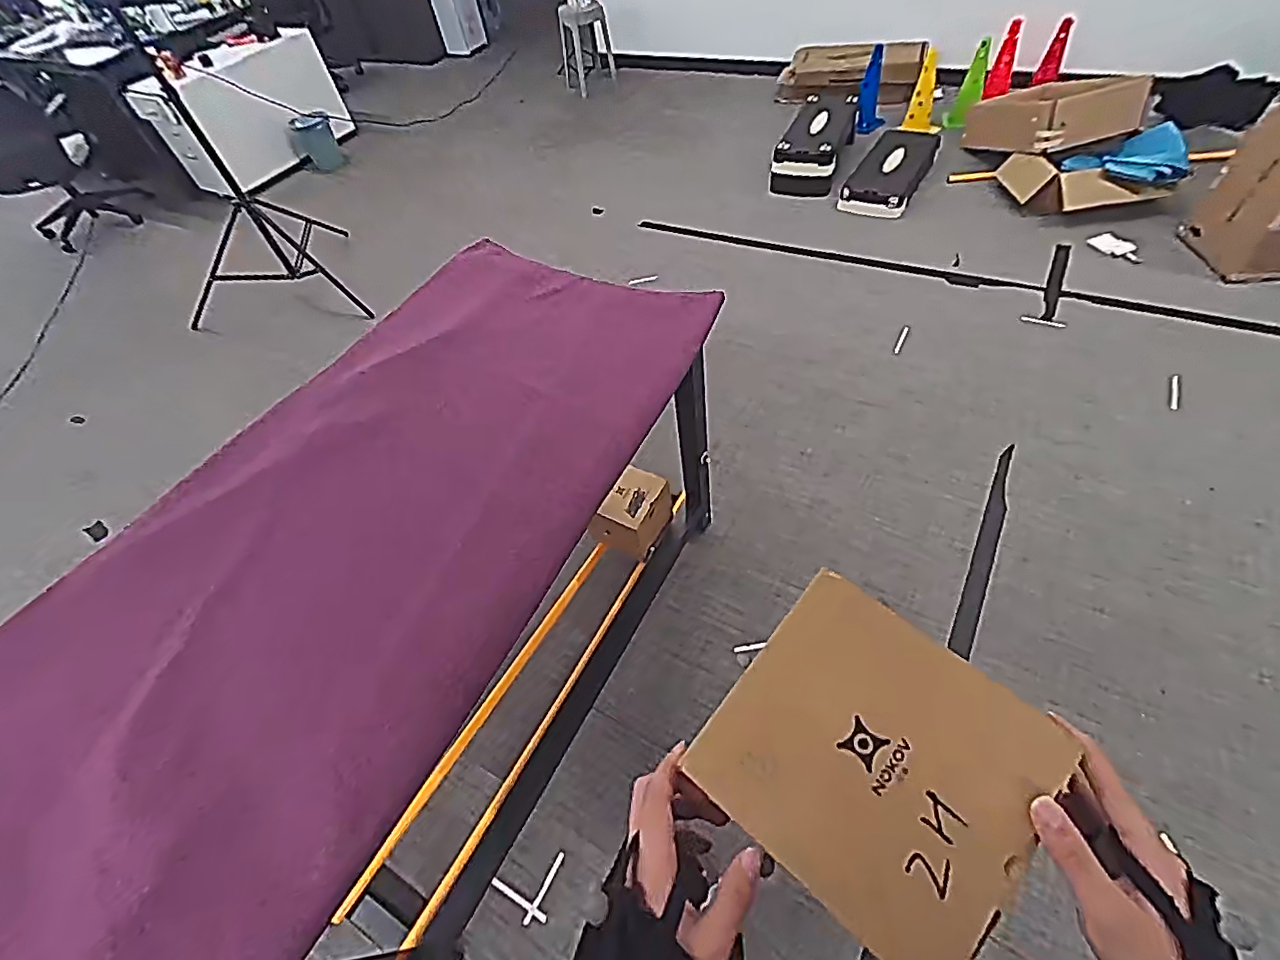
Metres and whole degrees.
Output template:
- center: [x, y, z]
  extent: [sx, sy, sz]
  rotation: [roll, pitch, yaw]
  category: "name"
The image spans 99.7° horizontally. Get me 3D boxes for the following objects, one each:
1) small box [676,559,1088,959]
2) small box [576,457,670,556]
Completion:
- center: [0.148, 0.191, 0.389]
  extent: [0.179, 0.176, 0.168]
  rotation: [36, 76, 22]
  category: "small box"
- center: [-0.036, 0.075, 1.402]
  extent: [0.179, 0.176, 0.168]
  rotation: [21, 60, 23]
  category: "small box"
